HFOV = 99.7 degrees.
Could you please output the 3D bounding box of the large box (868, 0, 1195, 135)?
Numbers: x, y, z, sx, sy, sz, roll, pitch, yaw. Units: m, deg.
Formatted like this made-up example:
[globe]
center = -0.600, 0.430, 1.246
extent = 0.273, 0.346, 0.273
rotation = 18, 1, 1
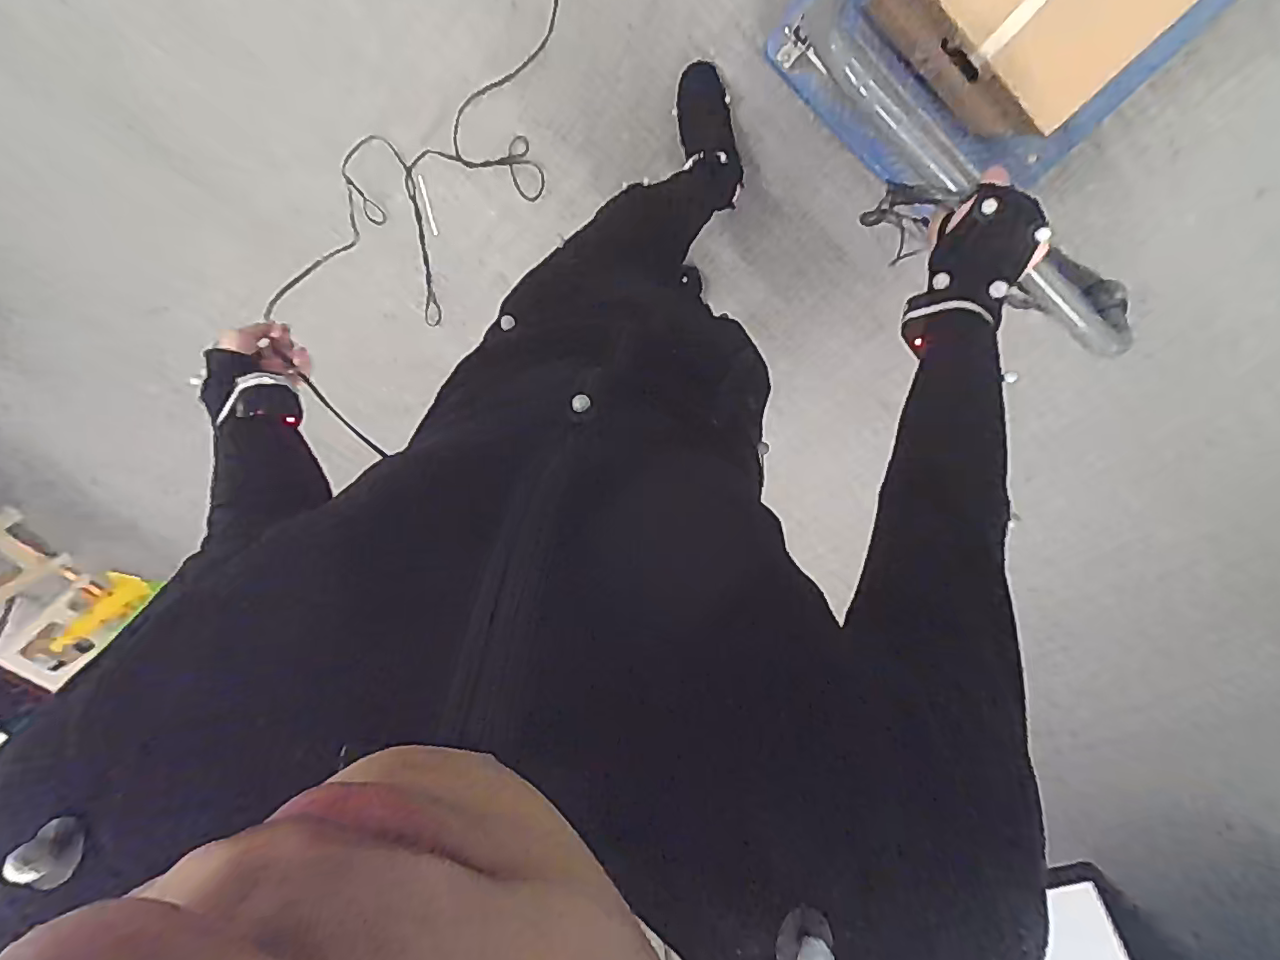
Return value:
[large box]
center = 0.608, -0.776, 0.760
extent = 0.320, 0.320, 0.408
rotation = 38, 121, -15
